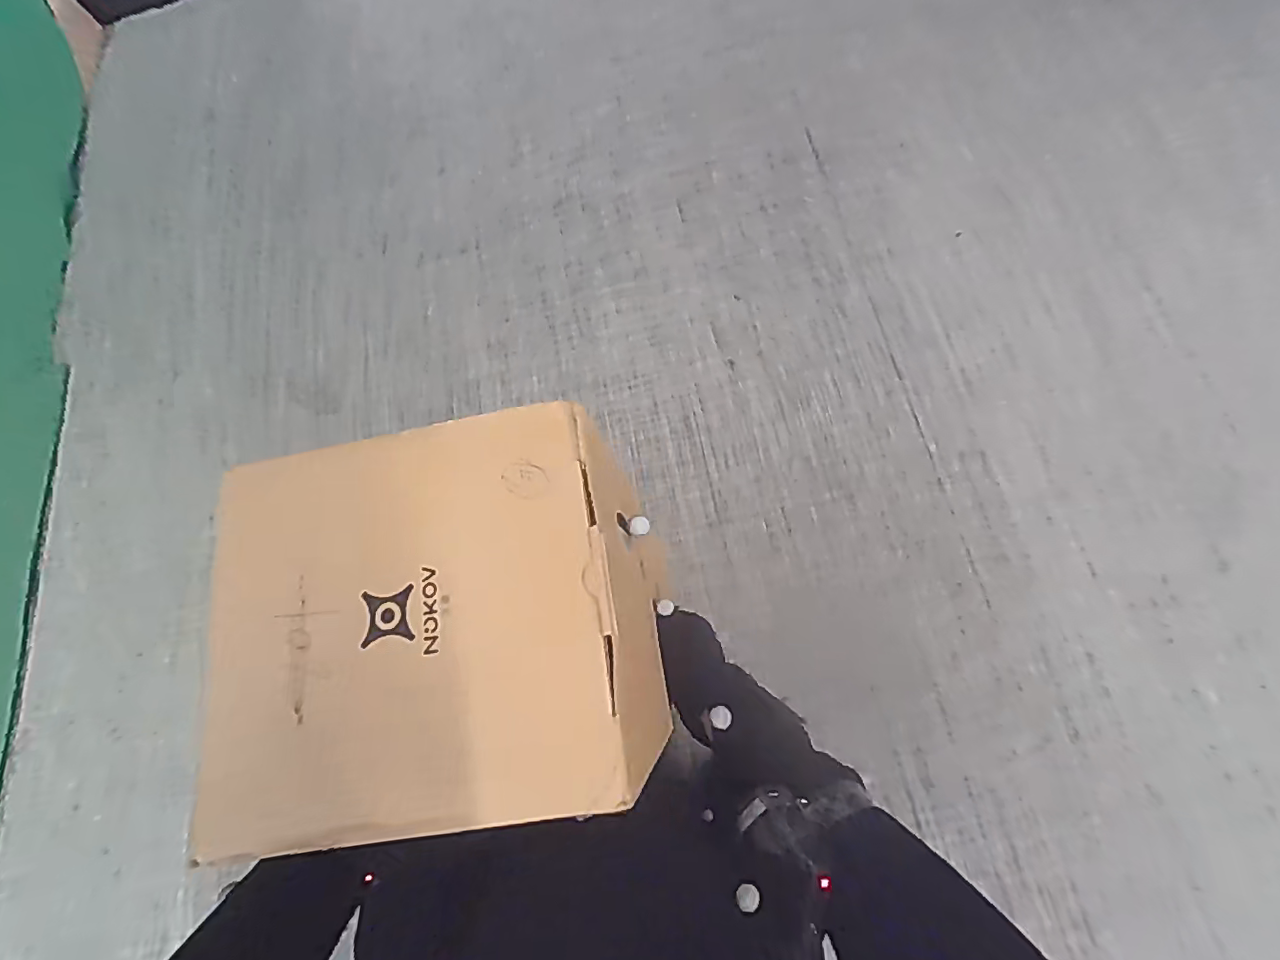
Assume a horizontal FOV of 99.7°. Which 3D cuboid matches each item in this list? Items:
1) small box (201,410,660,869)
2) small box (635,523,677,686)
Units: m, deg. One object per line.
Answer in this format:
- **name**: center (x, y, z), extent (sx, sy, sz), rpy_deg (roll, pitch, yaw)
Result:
- **small box**: center (-0.089, 0.082, 0.303), extent (0.179, 0.176, 0.168), rpy_deg (-12, 72, 6)
- **small box**: center (-0.056, 0.156, 0.619), extent (0.179, 0.176, 0.168), rpy_deg (-11, 72, 7)
